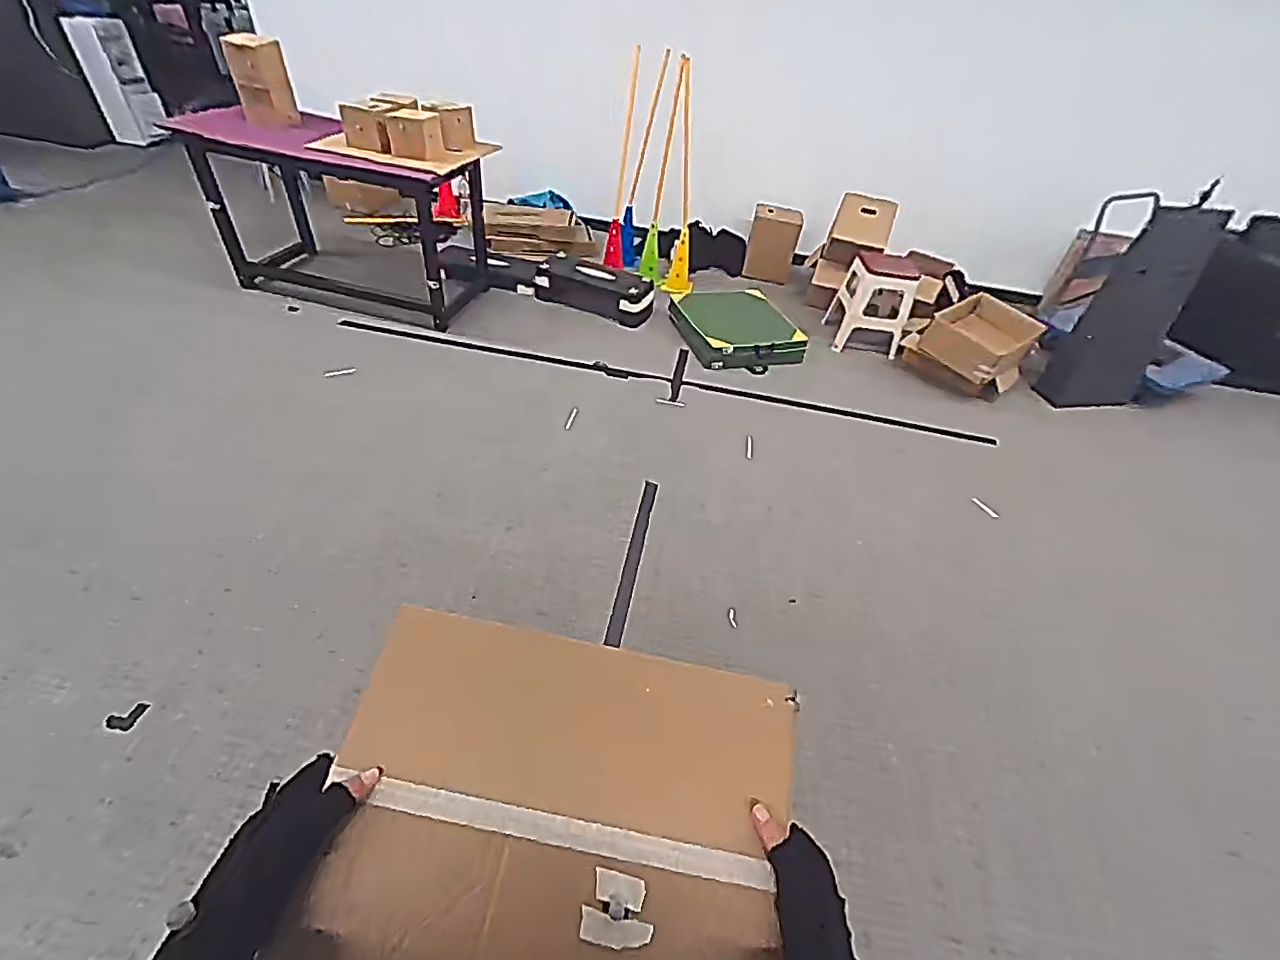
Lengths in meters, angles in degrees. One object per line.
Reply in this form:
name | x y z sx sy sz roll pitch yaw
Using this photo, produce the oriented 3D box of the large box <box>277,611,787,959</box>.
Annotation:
large box | -0.082 0.369 0.618 0.408 0.320 0.320 11 64 2
